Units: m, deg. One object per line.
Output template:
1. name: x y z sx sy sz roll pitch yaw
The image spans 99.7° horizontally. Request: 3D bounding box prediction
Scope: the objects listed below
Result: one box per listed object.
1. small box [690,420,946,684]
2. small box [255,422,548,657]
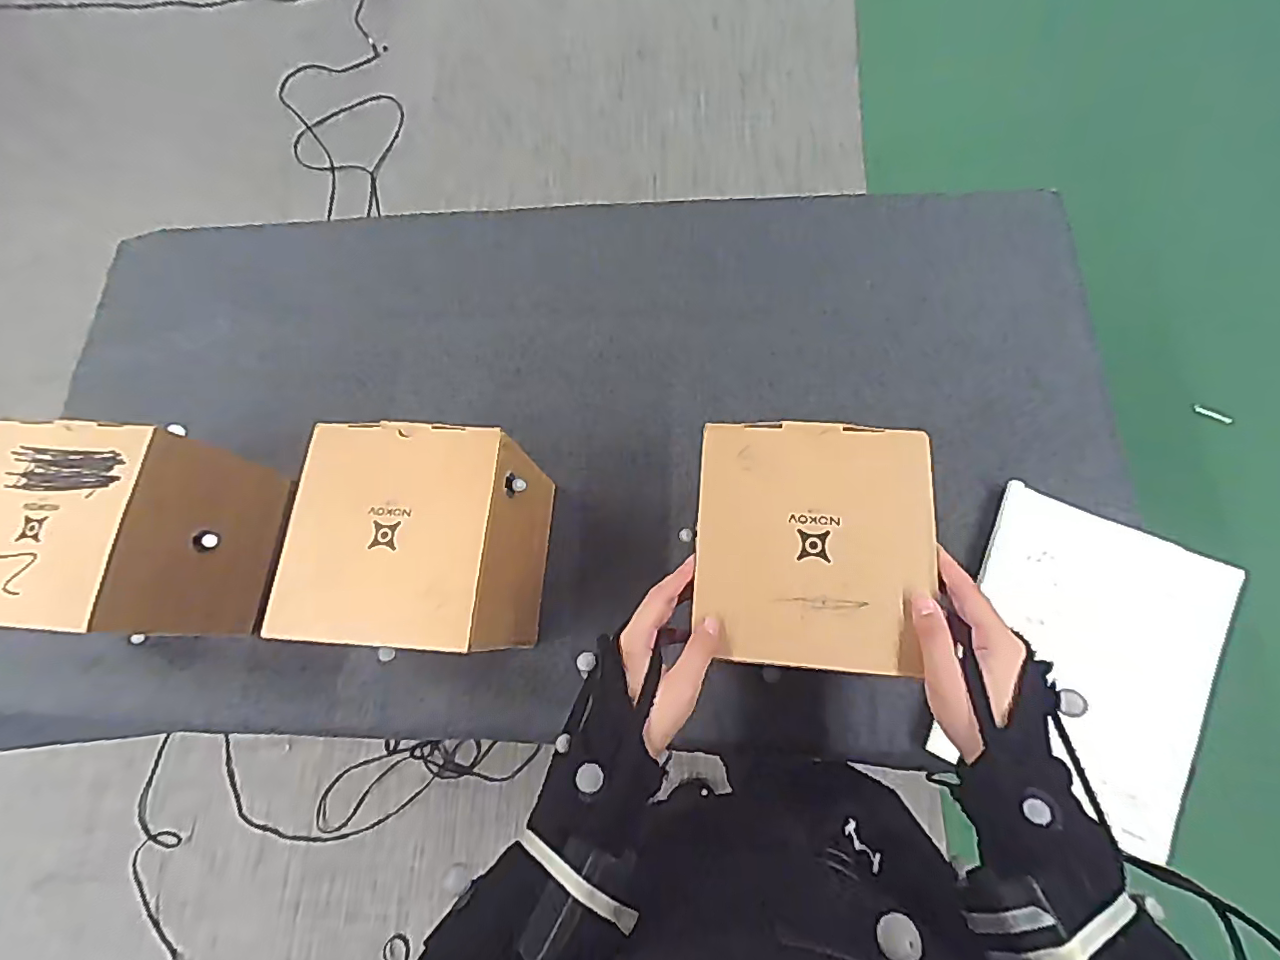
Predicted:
1. small box: 0.130 0.064 0.450 0.168 0.176 0.179 2 75 8
2. small box: -0.190 0.060 0.487 0.168 0.176 0.179 2 73 7
